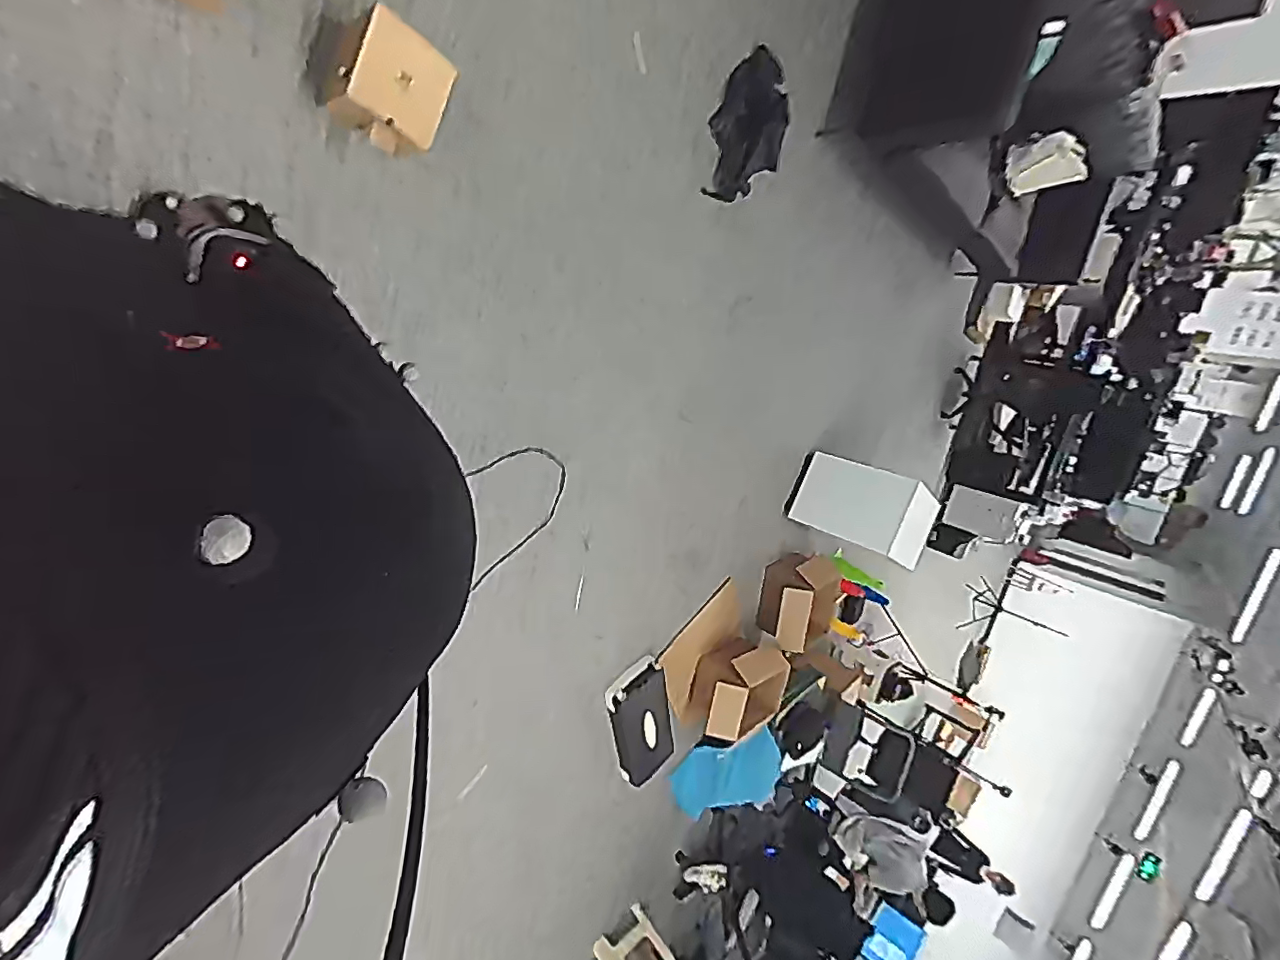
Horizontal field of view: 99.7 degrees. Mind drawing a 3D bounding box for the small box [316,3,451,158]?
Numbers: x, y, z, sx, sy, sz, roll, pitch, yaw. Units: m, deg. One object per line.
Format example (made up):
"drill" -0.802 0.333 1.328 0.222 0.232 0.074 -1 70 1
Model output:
"small box" -0.512 -0.776 1.073 0.168 0.176 0.179 17 95 -50
